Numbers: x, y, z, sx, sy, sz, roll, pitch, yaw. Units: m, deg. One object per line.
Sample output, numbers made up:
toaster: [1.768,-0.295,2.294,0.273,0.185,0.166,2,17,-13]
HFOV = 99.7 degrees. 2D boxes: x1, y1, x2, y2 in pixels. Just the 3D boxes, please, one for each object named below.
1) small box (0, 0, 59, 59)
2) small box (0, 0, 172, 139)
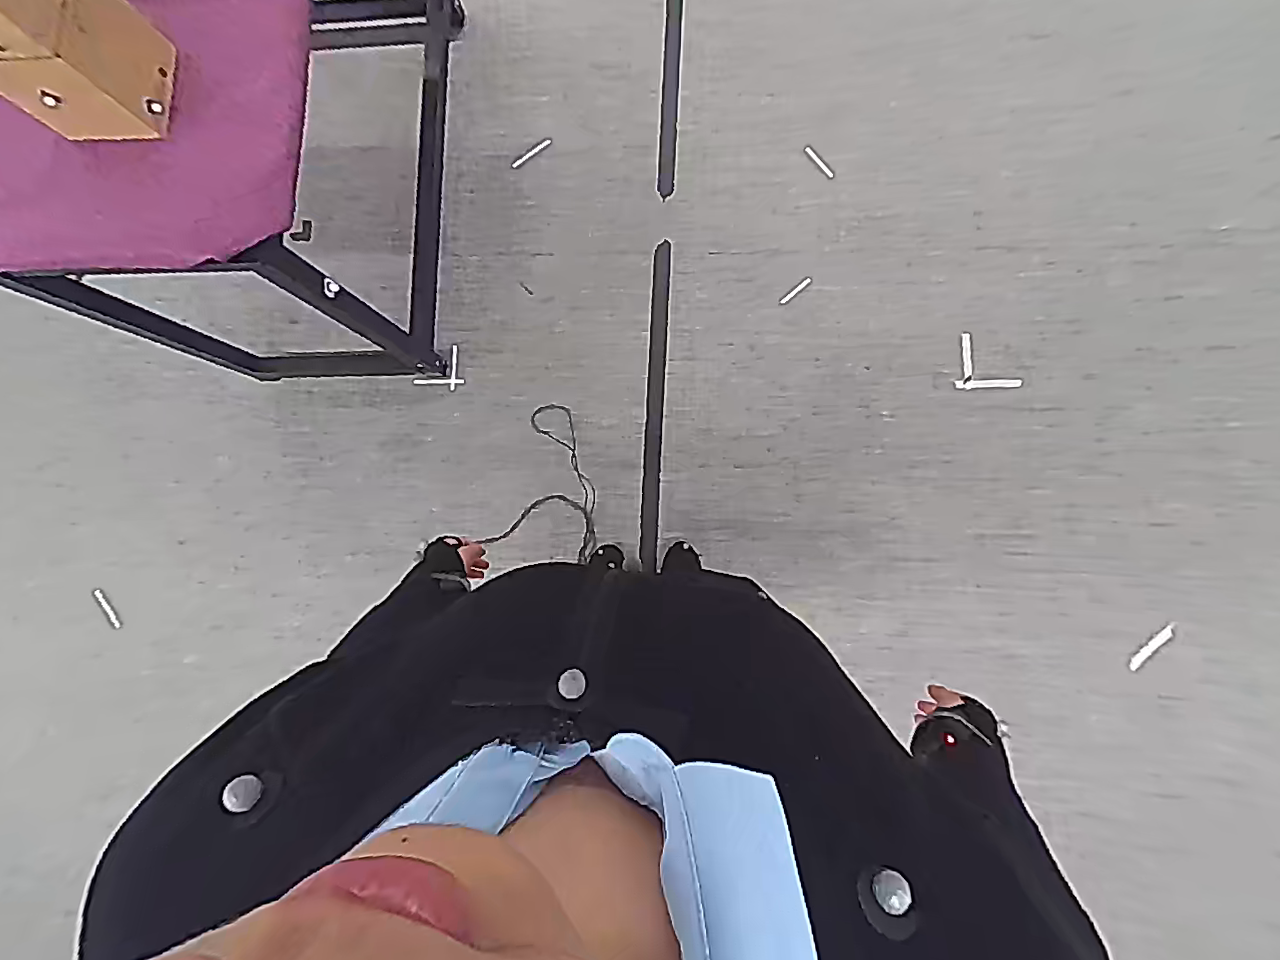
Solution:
small box: [-0.883,-0.674,0.671,0.168,0.176,0.179,1,84,4]
small box: [-0.882,-0.660,0.836,0.179,0.176,0.168,1,84,4]
